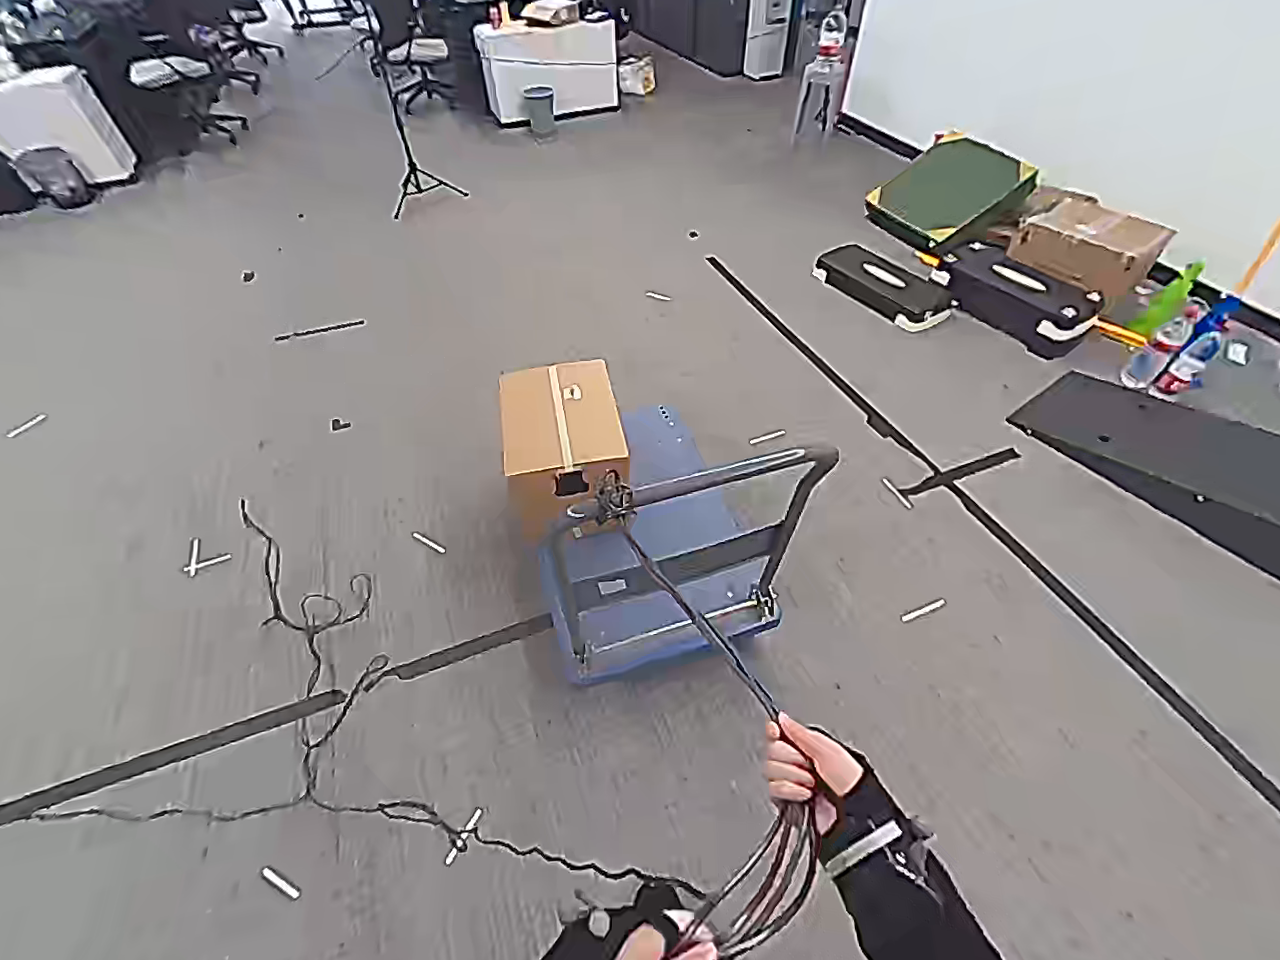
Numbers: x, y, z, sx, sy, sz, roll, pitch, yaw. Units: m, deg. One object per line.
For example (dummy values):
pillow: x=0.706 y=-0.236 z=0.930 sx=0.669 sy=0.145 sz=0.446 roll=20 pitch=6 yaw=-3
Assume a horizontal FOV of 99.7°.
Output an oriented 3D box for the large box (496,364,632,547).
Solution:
large box: x=-0.219 y=-0.073 z=1.565 sx=0.320 sy=0.320 sz=0.408 roll=-10 pitch=50 yaw=-8
